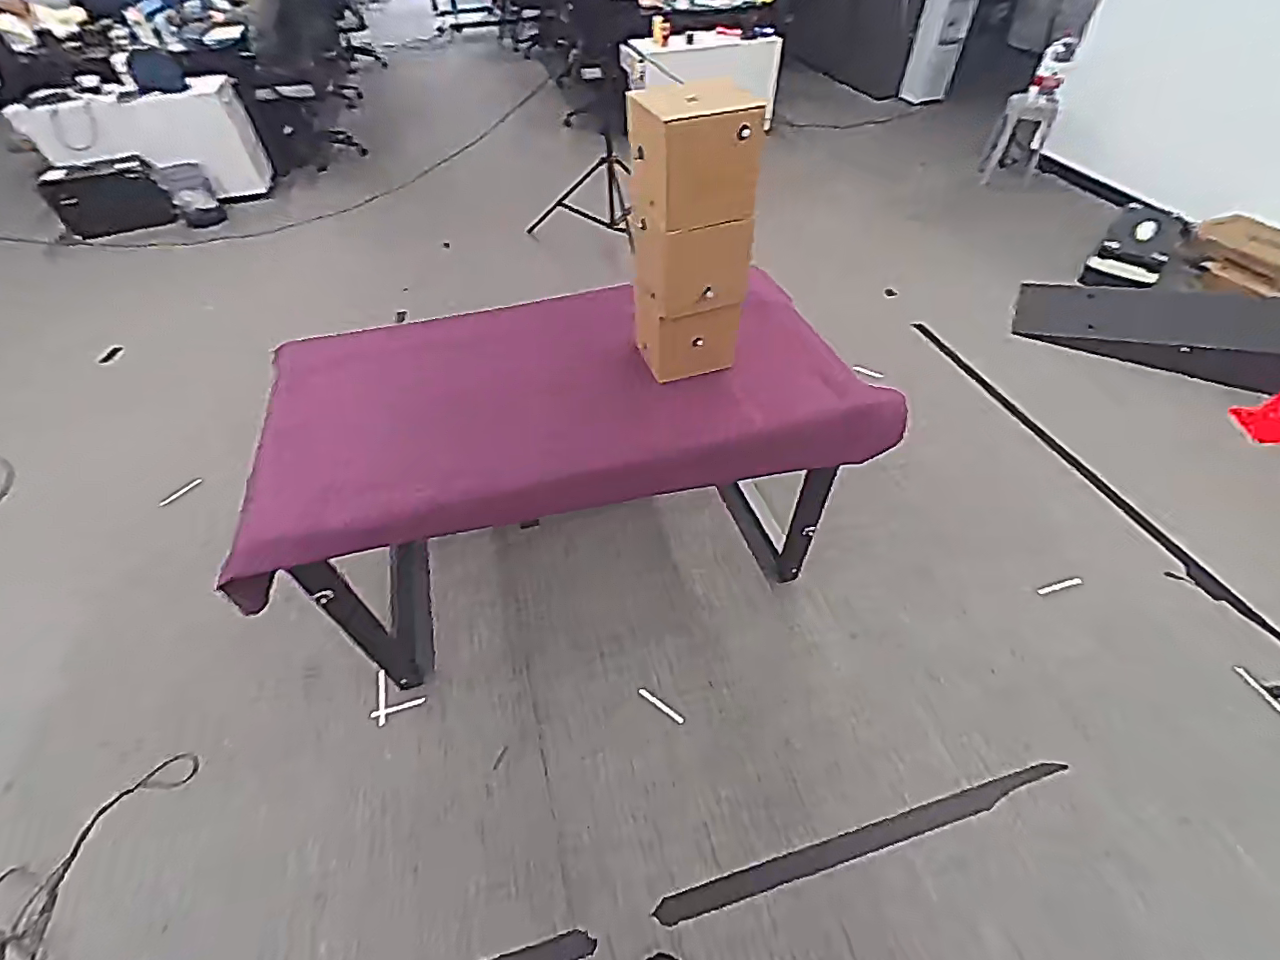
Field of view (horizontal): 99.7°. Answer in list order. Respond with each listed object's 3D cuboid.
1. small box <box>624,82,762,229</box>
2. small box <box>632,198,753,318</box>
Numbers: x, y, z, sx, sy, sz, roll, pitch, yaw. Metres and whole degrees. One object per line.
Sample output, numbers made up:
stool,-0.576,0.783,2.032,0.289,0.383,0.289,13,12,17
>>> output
small box,0.085,-0.550,0.923,0.179,0.176,0.168,-17,51,-13
small box,0.092,-0.438,1.041,0.179,0.176,0.168,-17,50,-13
